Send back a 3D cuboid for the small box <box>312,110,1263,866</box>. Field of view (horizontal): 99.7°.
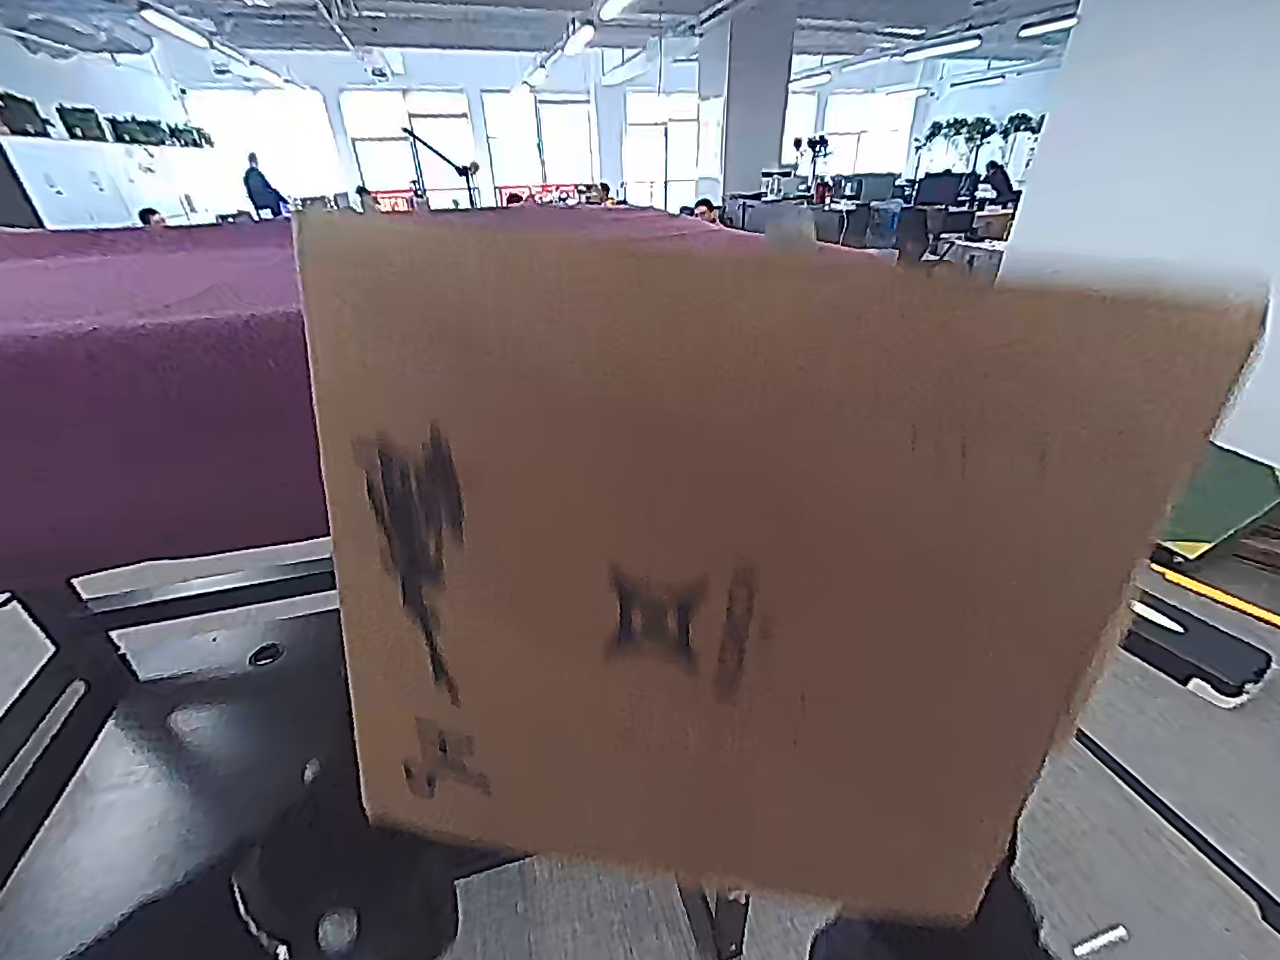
[{"bbox_3d":[0.022,-0.008,0.199,0.179,0.168,0.176,7,19,3],"label":"small box"}]
